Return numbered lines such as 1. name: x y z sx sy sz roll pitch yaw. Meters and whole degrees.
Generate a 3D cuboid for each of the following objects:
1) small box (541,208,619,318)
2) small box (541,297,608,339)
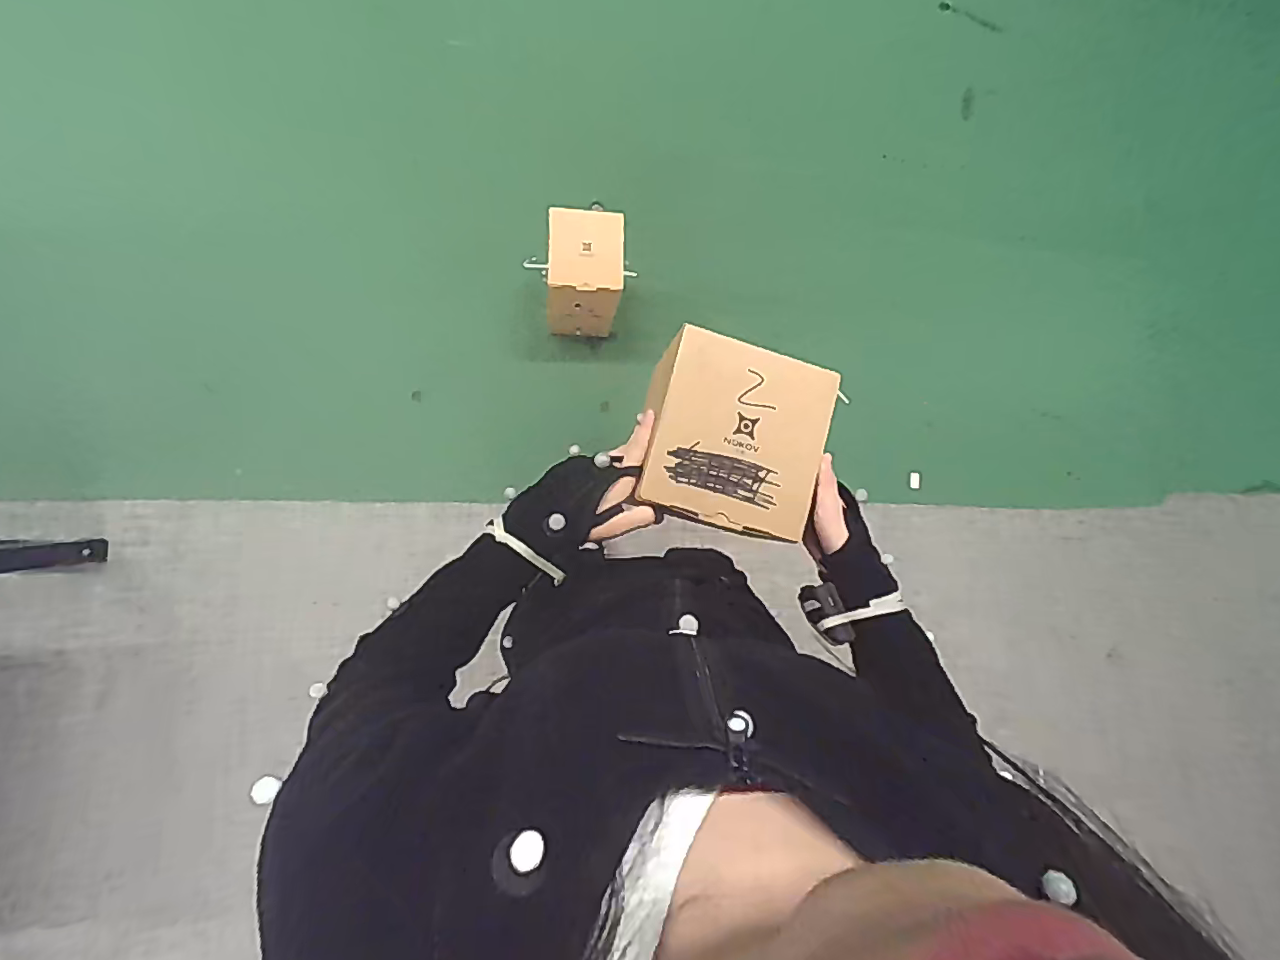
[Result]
1. small box: -0.143 -0.492 1.247 0.168 0.176 0.179 0 87 -11
2. small box: -0.172 -0.482 1.406 0.168 0.176 0.179 1 87 -9
